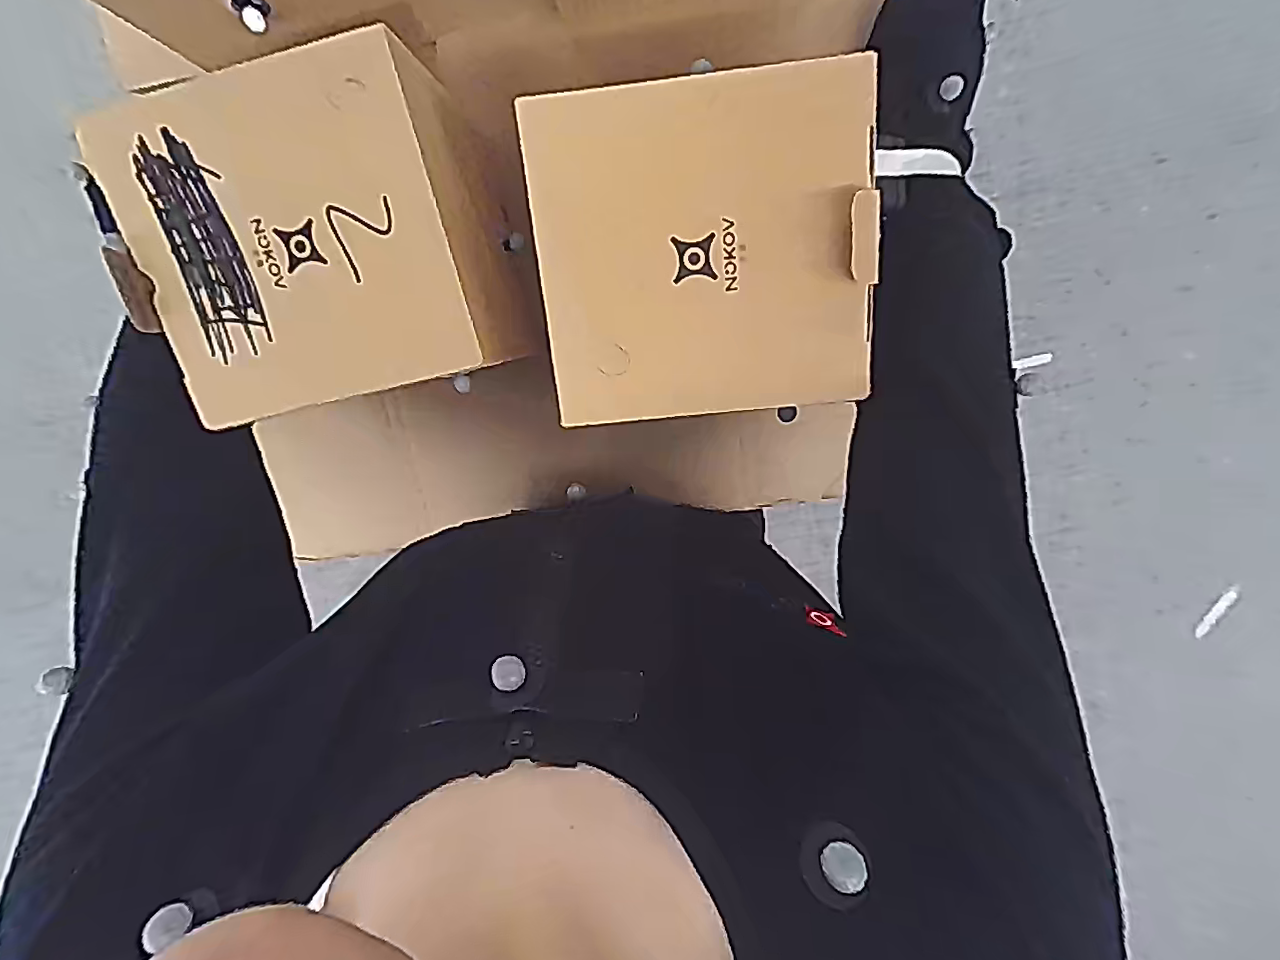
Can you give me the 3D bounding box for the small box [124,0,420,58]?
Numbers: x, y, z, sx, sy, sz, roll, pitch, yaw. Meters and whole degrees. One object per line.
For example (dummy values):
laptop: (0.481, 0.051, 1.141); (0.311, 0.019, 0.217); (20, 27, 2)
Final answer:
small box: (-0.254, -0.386, 0.313); (0.168, 0.176, 0.179); (-8, 102, 5)
